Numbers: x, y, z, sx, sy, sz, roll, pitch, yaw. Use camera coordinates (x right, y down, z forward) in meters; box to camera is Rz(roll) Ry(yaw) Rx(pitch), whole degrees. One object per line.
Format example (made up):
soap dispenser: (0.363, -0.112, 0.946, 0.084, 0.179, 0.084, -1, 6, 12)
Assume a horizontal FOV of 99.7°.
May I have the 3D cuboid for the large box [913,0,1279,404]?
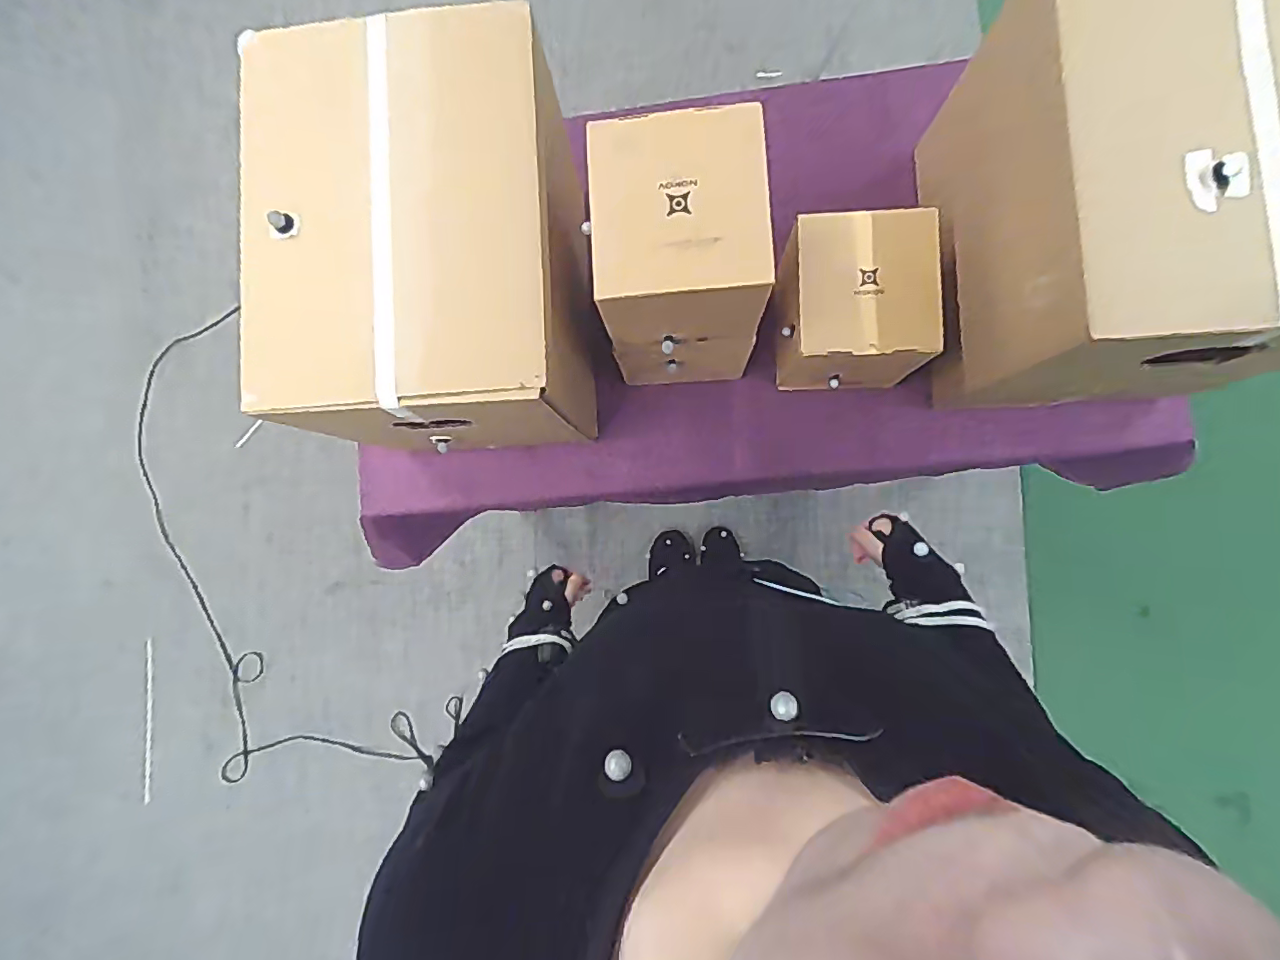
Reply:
large box: (0.558, -0.322, 0.643, 0.320, 0.320, 0.408, -2, 86, 4)
